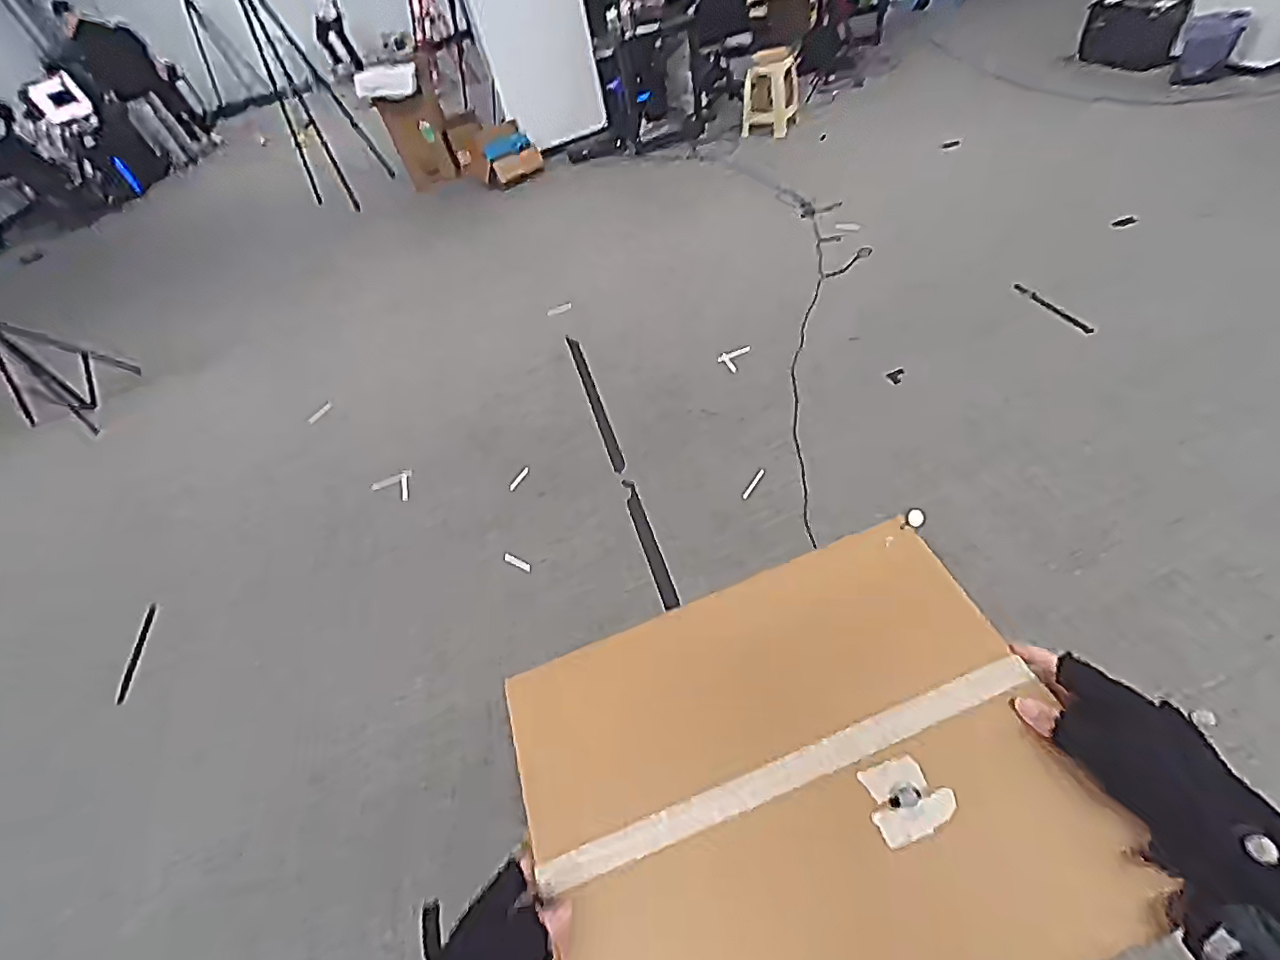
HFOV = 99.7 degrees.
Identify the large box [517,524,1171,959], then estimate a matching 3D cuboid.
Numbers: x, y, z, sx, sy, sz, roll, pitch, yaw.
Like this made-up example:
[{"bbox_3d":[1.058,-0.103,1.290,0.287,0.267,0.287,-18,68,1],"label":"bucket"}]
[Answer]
[{"bbox_3d":[0.143,0.315,0.545,0.408,0.320,0.320,-23,53,-3],"label":"large box"}]
